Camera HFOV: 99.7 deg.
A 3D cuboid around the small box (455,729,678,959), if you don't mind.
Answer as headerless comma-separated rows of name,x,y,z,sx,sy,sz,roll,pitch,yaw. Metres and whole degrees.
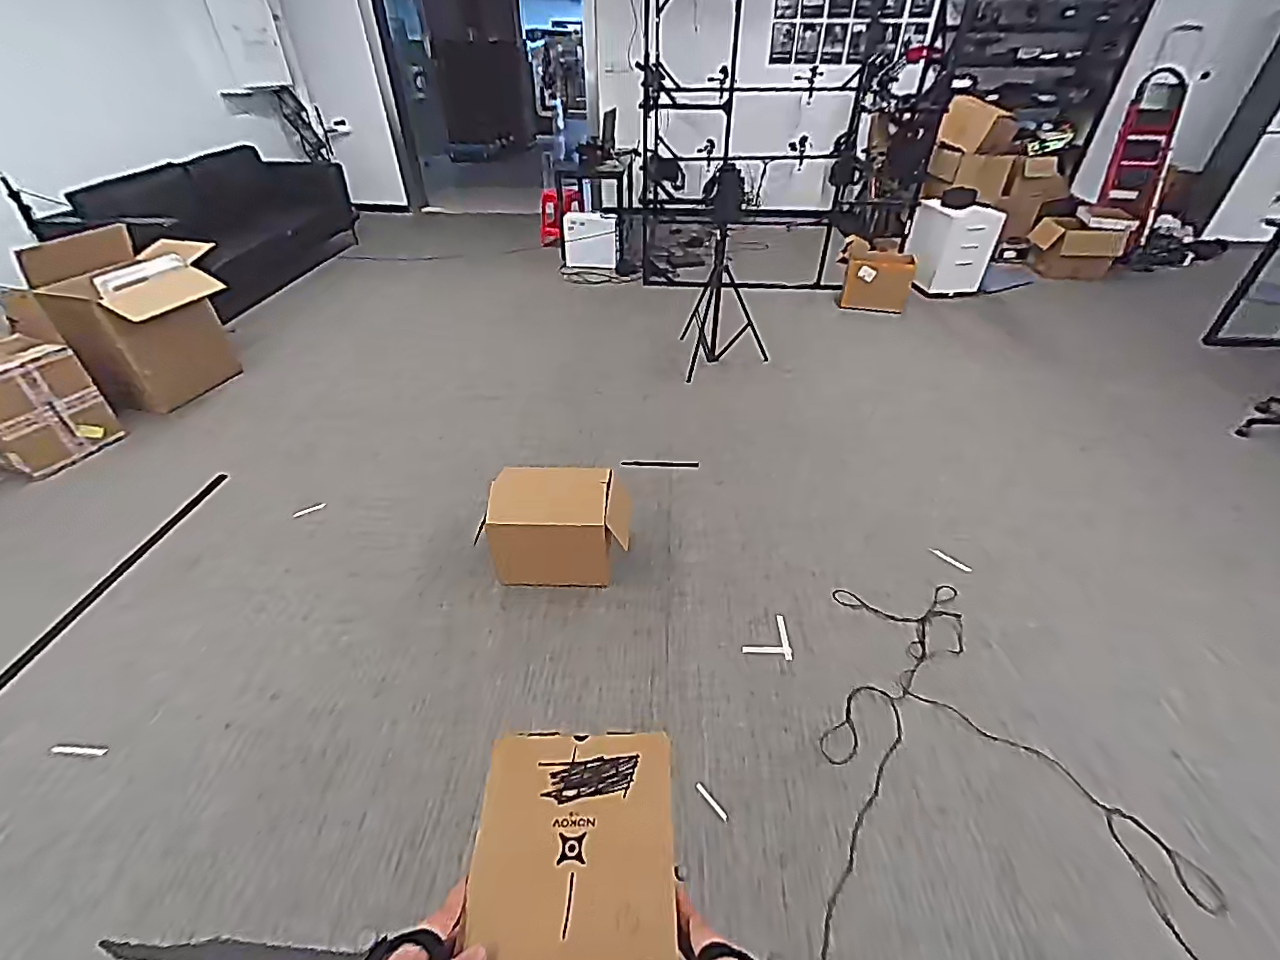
small box,-0.055,0.359,0.505,0.168,0.176,0.179,-1,39,0
